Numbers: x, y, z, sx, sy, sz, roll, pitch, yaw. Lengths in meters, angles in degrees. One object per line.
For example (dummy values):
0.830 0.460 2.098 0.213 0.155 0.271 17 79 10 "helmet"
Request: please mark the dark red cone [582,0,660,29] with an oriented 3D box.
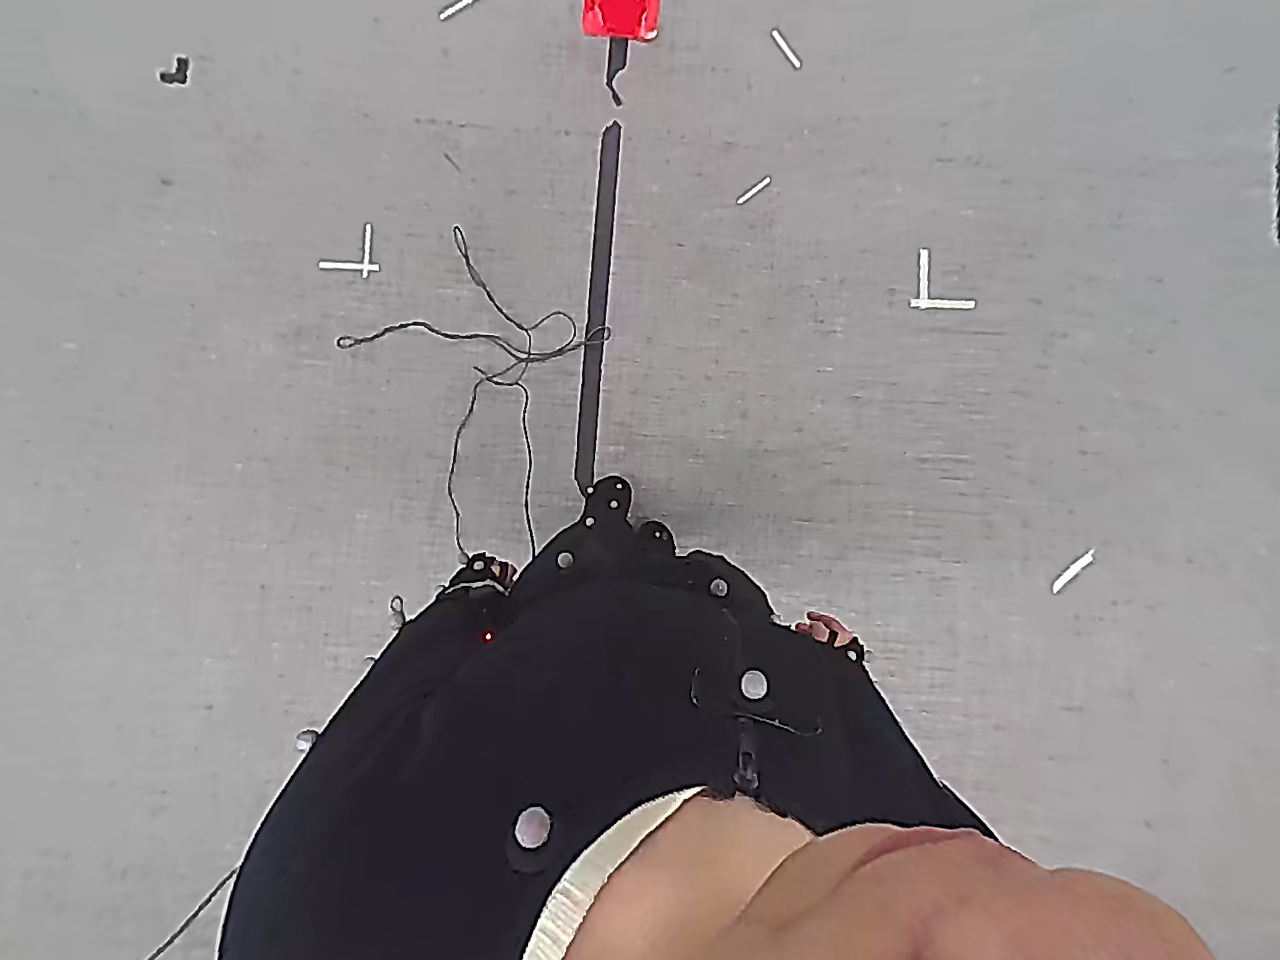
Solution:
-0.044 -1.269 1.225 0.201 0.394 0.202 3 89 -1 "dark red cone"
